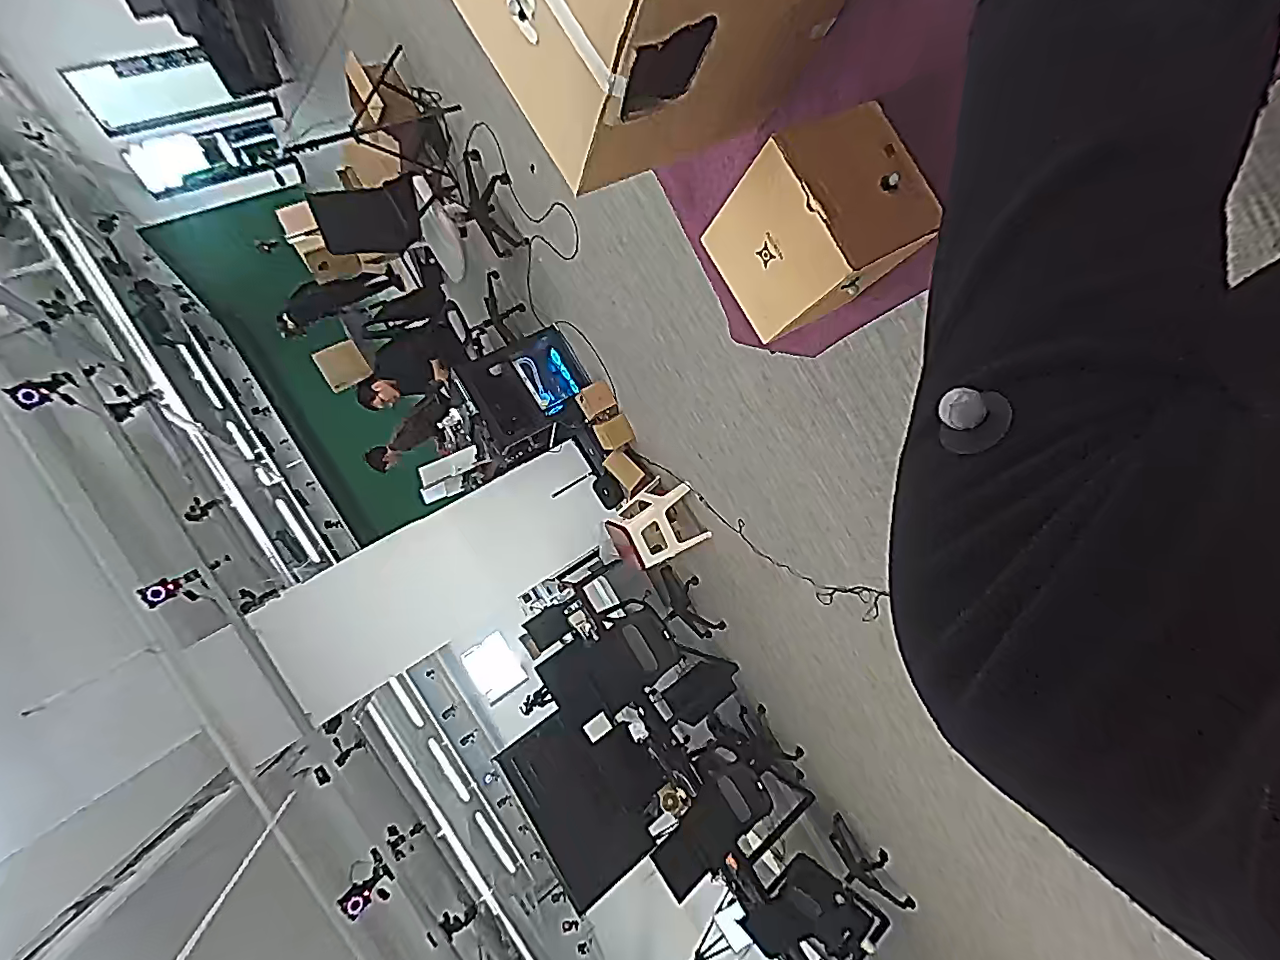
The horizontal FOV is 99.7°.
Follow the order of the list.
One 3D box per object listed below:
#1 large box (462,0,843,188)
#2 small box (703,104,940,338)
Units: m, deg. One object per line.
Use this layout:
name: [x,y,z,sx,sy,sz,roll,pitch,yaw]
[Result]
large box: [-0.006,-0.606,0.539,0.408,0.320,0.320,56,159,-1]
small box: [0.213,-0.306,0.656,0.168,0.176,0.179,59,158,1]
